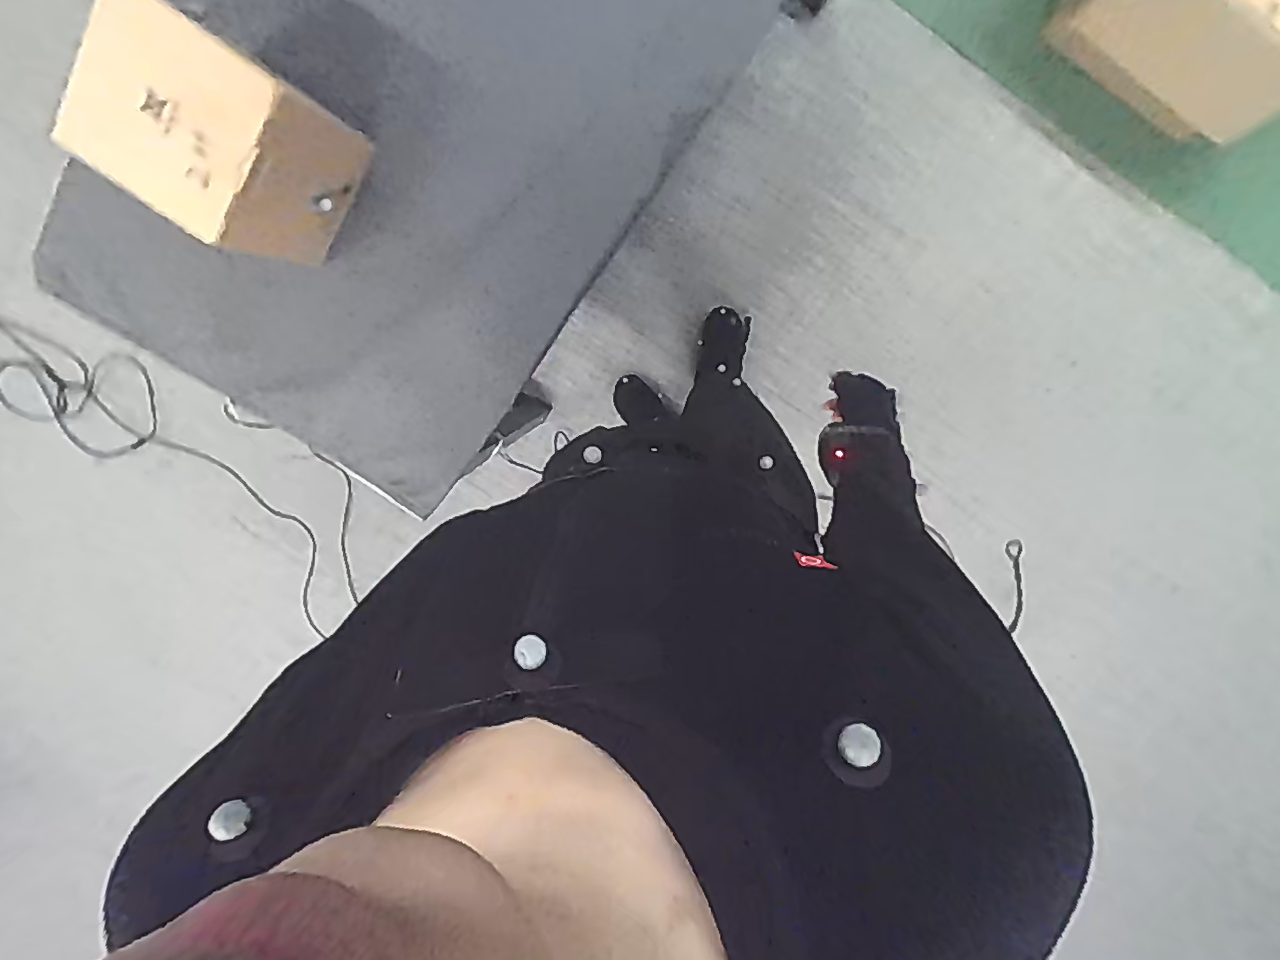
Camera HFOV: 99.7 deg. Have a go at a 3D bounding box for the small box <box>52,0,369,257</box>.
[{"bbox_3d":[-0.439,-0.362,0.580,0.179,0.176,0.168,34,105,-6],"label":"small box"}]
